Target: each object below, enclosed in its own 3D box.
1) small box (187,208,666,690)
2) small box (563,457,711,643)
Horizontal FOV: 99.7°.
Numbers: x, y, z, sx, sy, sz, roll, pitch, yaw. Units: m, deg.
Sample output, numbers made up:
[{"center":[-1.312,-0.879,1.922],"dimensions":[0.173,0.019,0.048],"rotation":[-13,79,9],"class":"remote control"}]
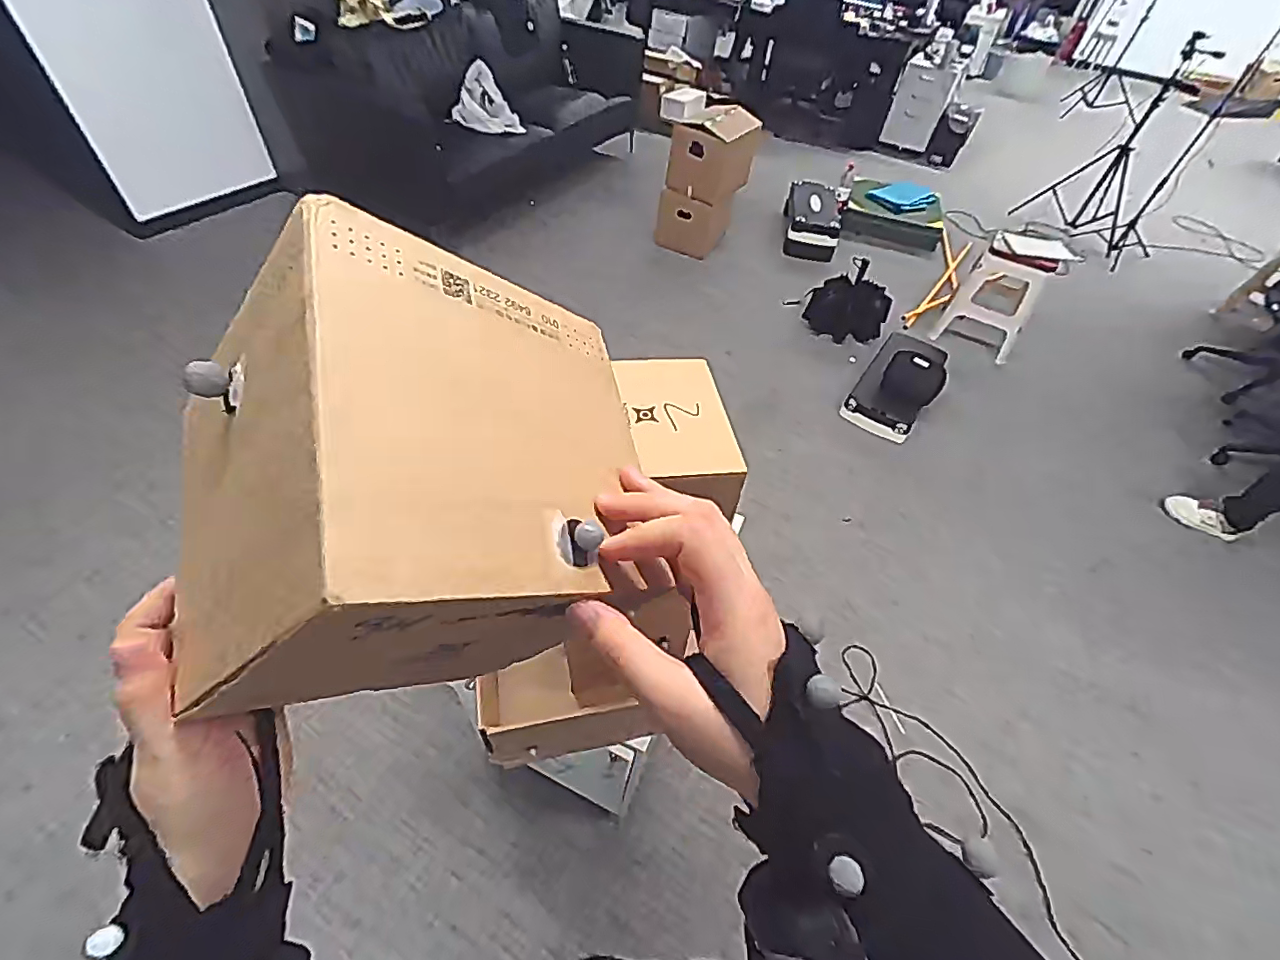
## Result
[{"center":[-0.116,0.001,0.298],"dimensions":[0.168,0.179,0.176],"rotation":[12,55,-50],"class":"small box"},{"center":[-0.022,0.093,0.708],"dimensions":[0.179,0.176,0.168],"rotation":[-7,48,-10],"class":"small box"}]
